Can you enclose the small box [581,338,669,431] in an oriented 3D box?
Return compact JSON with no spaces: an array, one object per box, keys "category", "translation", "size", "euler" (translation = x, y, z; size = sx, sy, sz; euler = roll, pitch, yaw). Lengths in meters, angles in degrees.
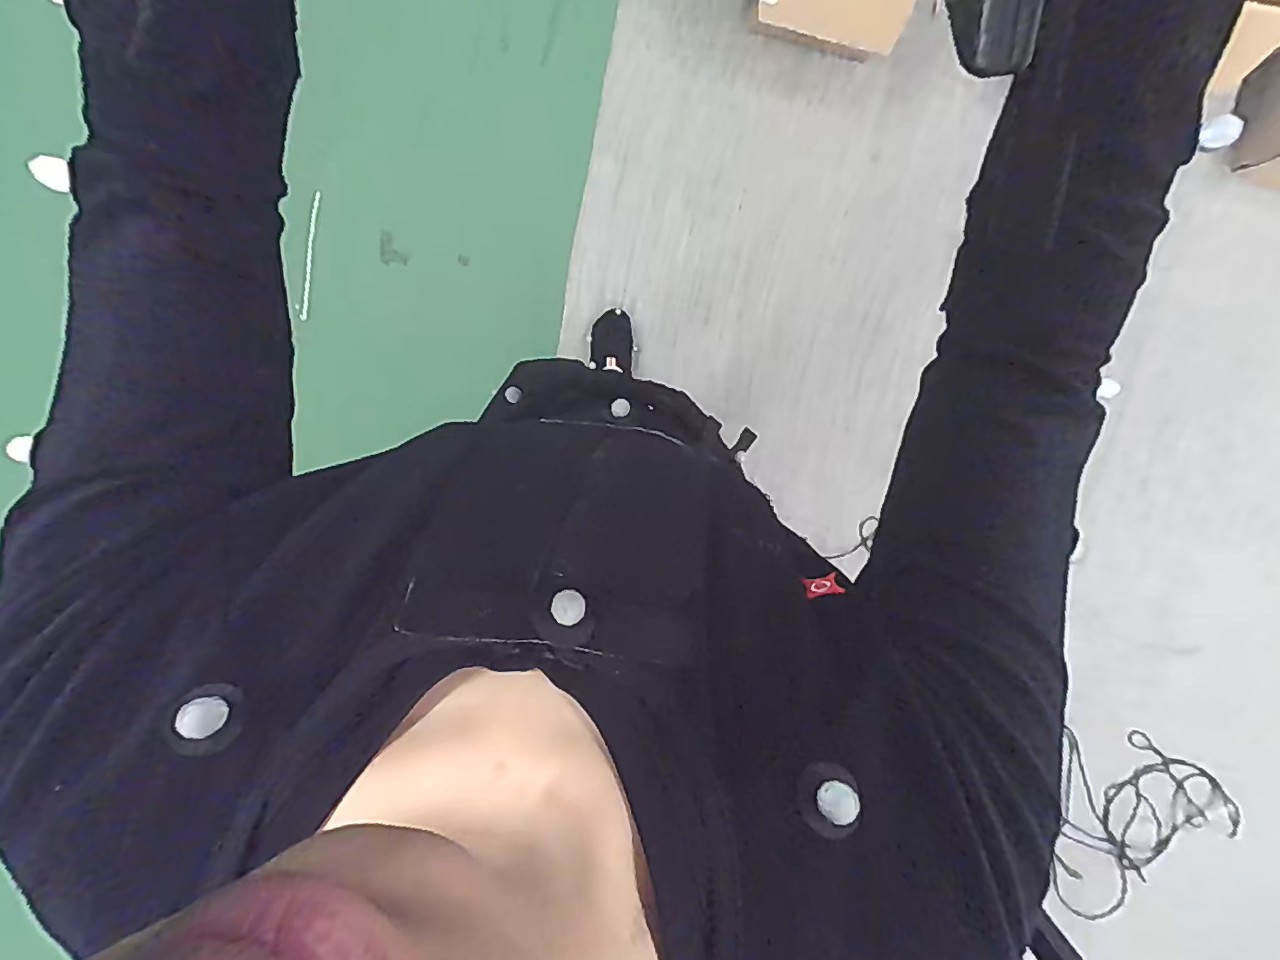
[{"category":"small box","translation":[-0.044,-0.247,1.372],"size":[0.168,0.176,0.179],"euler":[19,103,-13]}]
